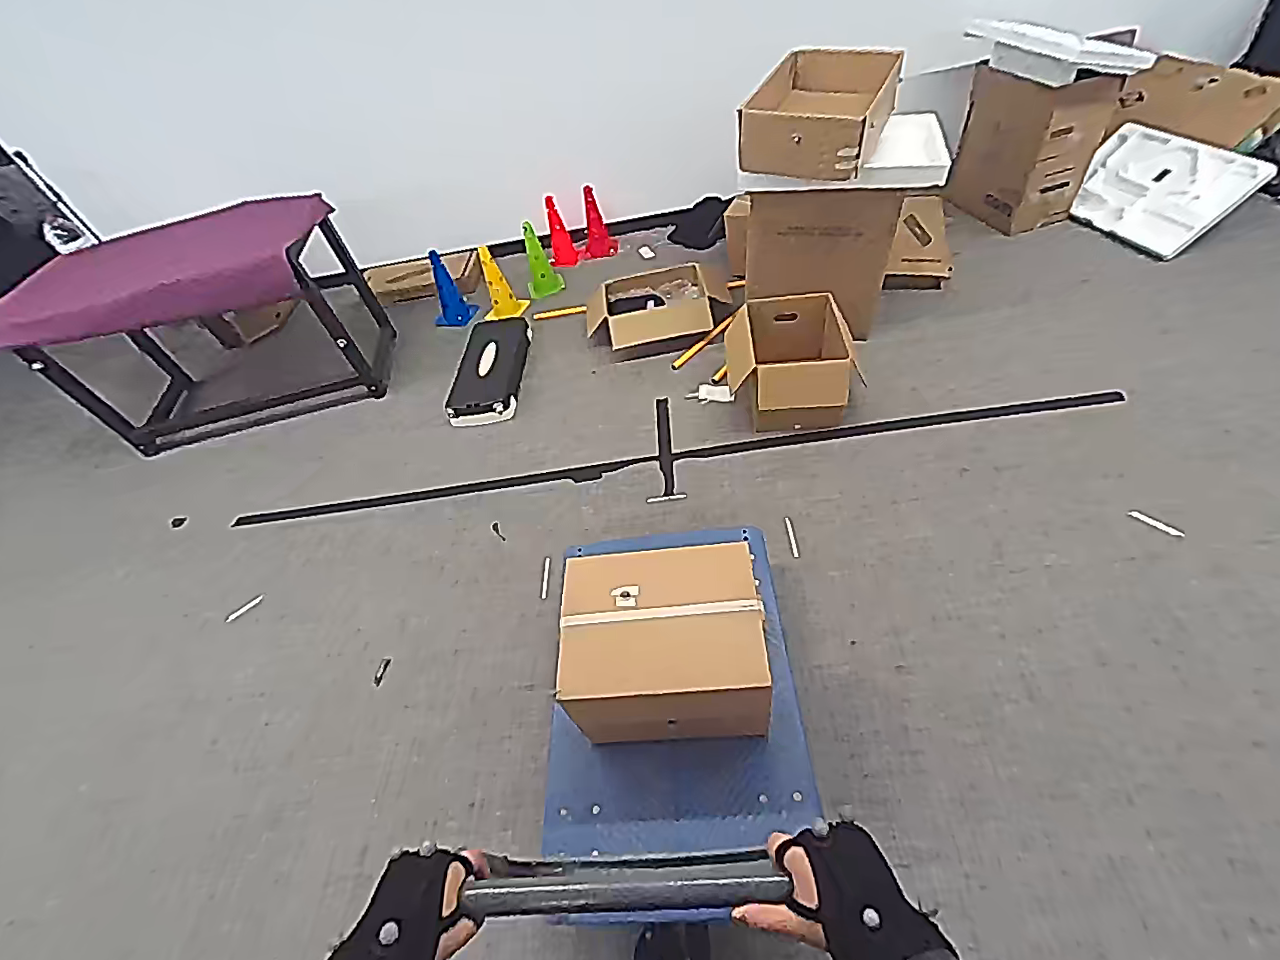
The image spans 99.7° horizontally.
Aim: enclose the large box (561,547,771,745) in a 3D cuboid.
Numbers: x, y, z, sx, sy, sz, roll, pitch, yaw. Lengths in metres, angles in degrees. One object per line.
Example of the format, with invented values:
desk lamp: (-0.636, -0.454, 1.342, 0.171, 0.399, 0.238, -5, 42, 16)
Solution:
large box: (0.065, 0.383, 1.220, 0.408, 0.320, 0.320, -8, 48, 7)
